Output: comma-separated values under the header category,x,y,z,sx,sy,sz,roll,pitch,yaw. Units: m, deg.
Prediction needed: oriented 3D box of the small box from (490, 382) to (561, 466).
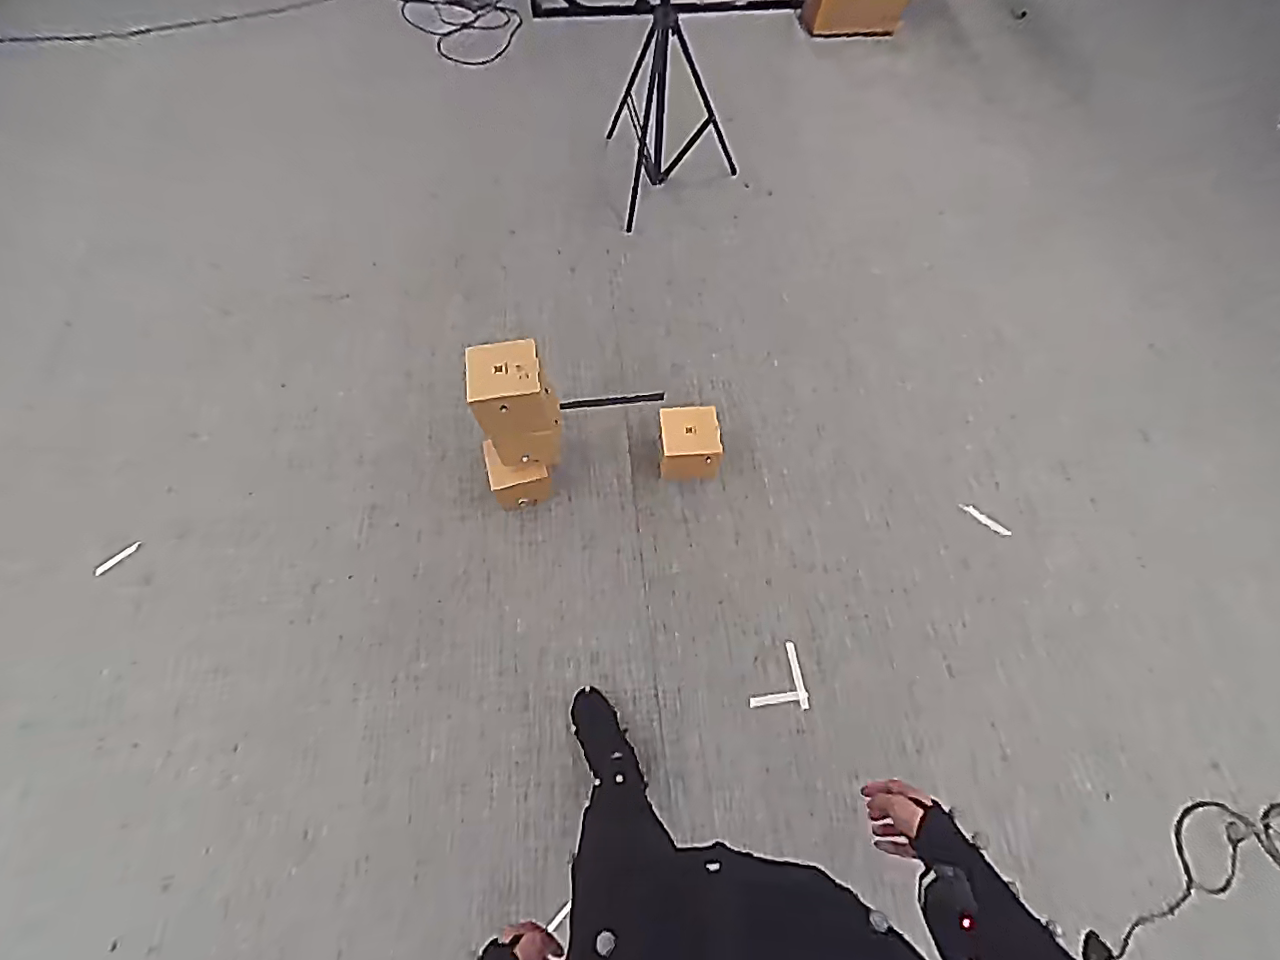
category,x,y,z,sx,sy,sz,roll,pitch,yaw
small box,-0.316,-0.155,1.511,0.168,0.176,0.179,-2,64,0

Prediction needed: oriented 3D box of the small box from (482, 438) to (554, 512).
category,x,y,z,sx,sy,sz,roll,pitch,yaw
small box,-0.364,-0.027,1.630,0.168,0.176,0.179,-15,66,-7

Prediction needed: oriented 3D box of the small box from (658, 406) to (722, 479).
category,x,y,z,sx,sy,sz,roll,pitch,yaw
small box,0.147,-0.111,1.678,0.179,0.176,0.168,-4,65,-4

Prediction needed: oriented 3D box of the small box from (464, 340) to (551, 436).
category,x,y,z,sx,sy,sz,roll,pitch,yaw
small box,-0.331,-0.226,1.363,0.179,0.176,0.168,-9,64,-4
